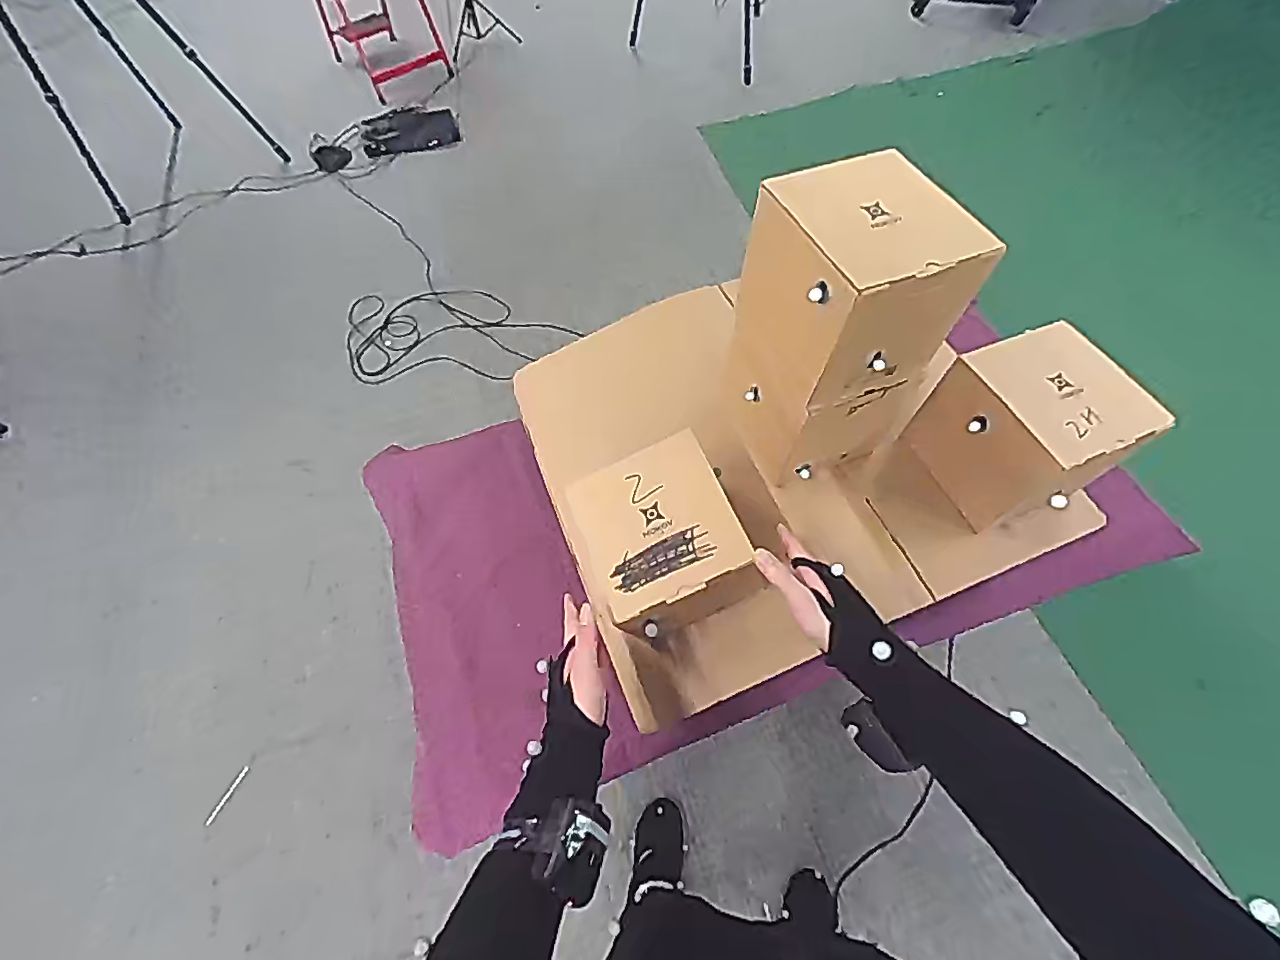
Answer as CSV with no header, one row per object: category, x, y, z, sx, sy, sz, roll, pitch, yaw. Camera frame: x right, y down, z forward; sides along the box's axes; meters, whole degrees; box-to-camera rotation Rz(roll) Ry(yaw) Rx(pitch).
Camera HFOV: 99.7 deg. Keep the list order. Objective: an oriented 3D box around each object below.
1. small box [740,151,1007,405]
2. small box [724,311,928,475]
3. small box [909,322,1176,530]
small box,0.227,-0.213,0.583,0.168,0.176,0.179,-20,63,-13
small box,0.229,-0.126,0.720,0.168,0.176,0.179,-19,61,-12
small box,0.486,-0.065,0.690,0.168,0.176,0.179,-19,62,-11
